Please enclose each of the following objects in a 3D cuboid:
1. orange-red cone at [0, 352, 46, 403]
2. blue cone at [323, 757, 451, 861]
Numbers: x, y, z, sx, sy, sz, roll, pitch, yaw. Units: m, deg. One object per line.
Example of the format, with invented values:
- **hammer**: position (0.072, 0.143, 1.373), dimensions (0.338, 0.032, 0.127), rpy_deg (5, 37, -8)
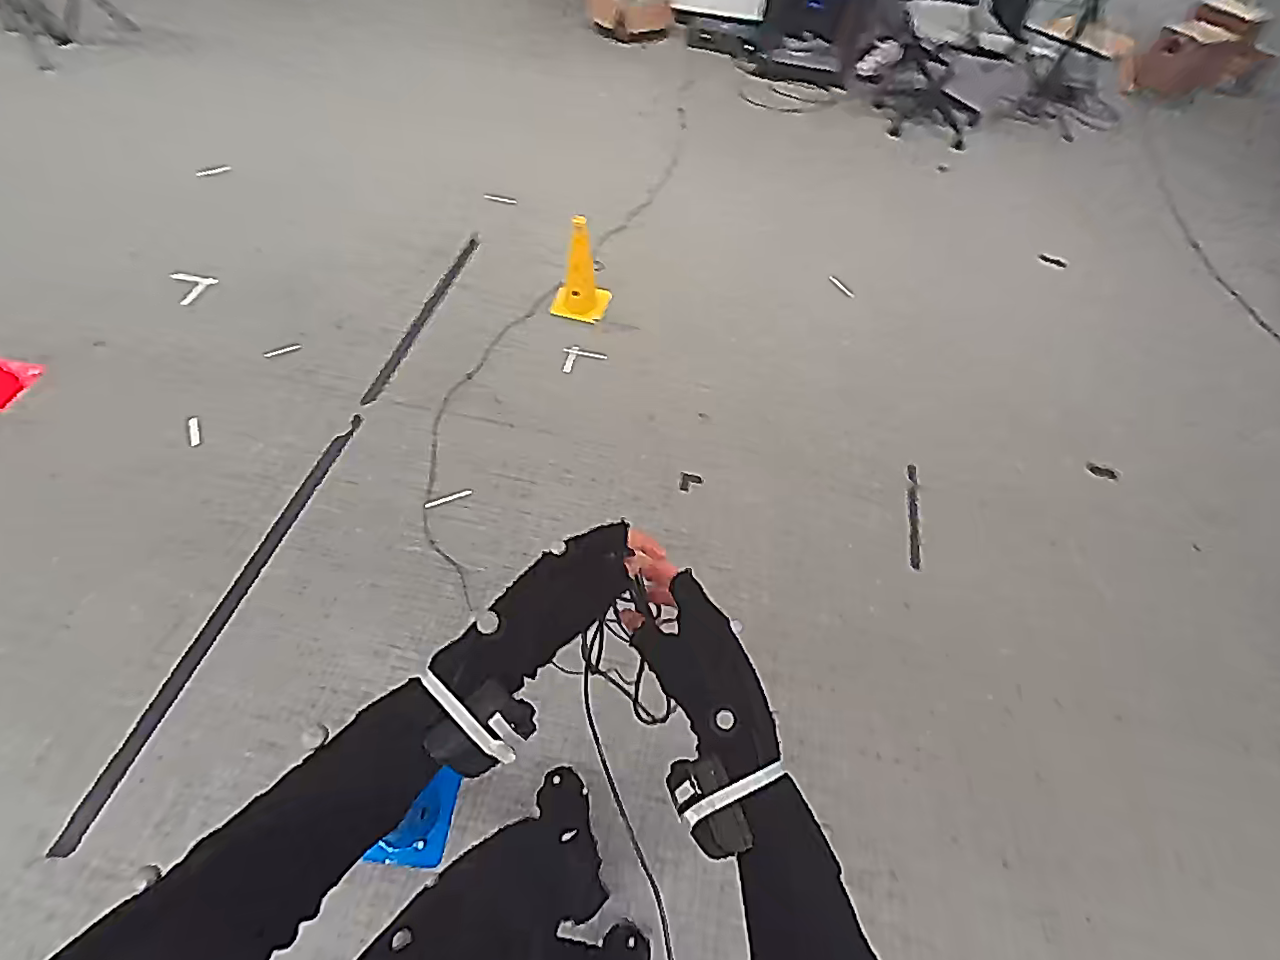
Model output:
- **orange-red cone**: position (-2.069, -0.423, 1.610), dimensions (0.198, 0.360, 0.199), rpy_deg (9, 58, 1)
- **blue cone**: position (-0.517, 0.637, 1.061), dimensions (0.192, 0.380, 0.193), rpy_deg (9, 57, 1)
